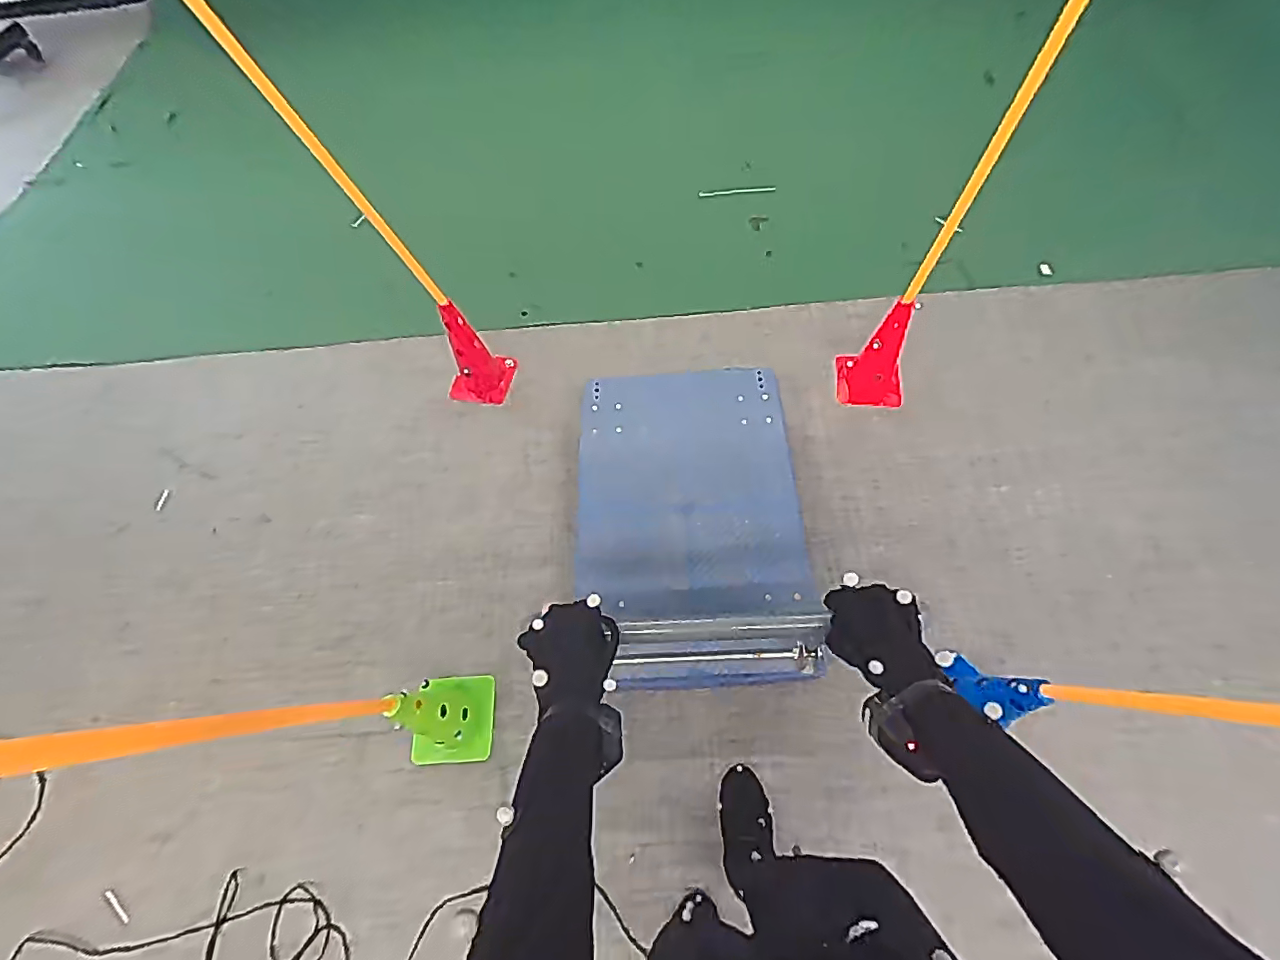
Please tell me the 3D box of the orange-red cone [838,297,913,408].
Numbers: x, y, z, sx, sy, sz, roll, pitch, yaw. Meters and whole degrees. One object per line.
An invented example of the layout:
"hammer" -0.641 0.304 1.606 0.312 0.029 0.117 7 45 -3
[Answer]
"orange-red cone" 0.730 -0.395 1.601 0.198 0.360 0.199 6 64 9
